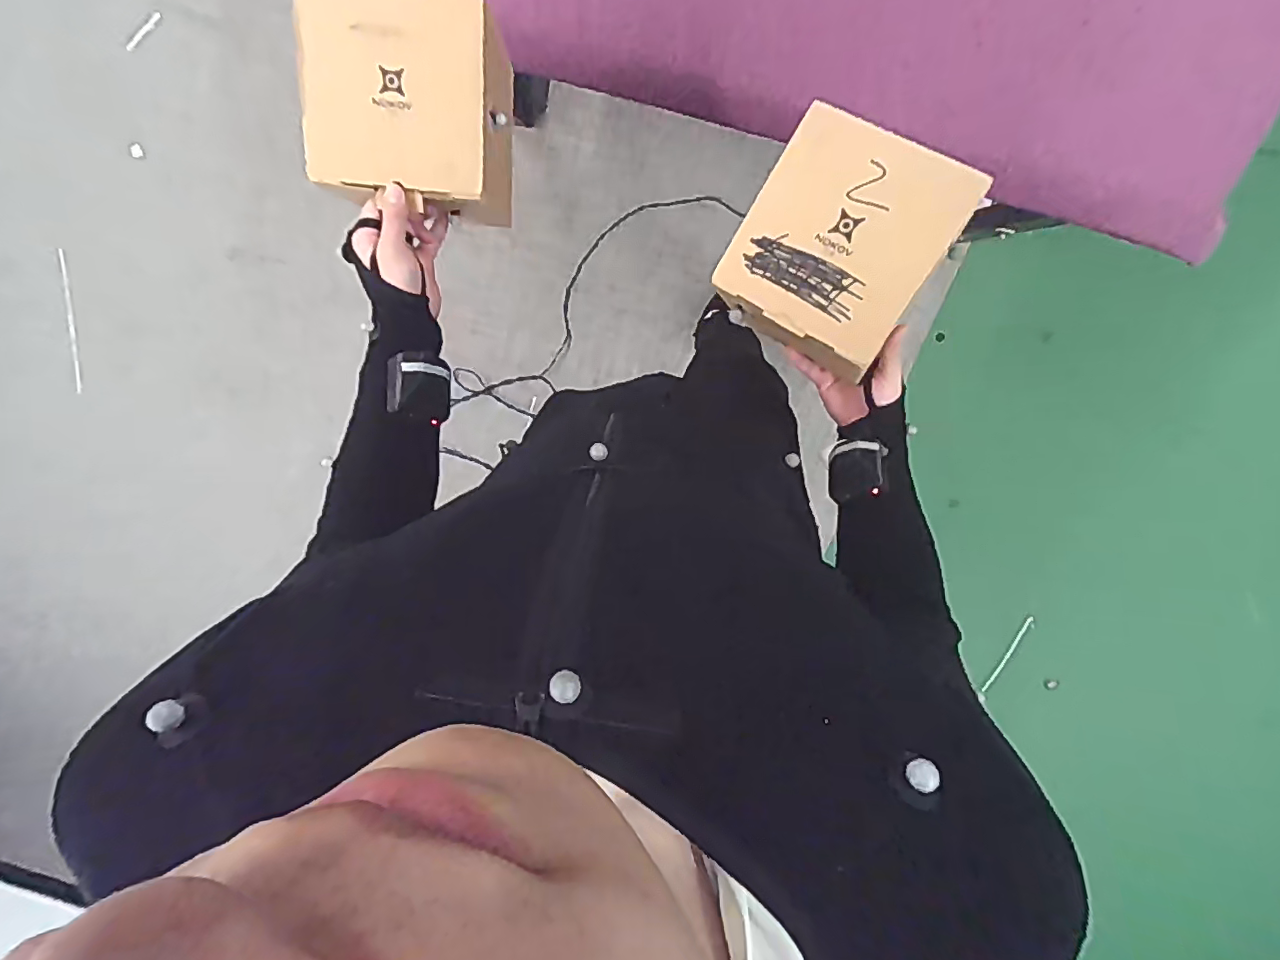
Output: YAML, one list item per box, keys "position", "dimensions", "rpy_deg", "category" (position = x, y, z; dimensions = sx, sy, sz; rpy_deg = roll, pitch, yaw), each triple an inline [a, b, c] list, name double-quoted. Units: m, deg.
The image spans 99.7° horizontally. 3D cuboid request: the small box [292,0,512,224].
- position: [-0.232, -0.383, 0.570]
  dimensions: [0.168, 0.176, 0.179]
  rpy_deg: [4, 104, -5]
  category: "small box"
